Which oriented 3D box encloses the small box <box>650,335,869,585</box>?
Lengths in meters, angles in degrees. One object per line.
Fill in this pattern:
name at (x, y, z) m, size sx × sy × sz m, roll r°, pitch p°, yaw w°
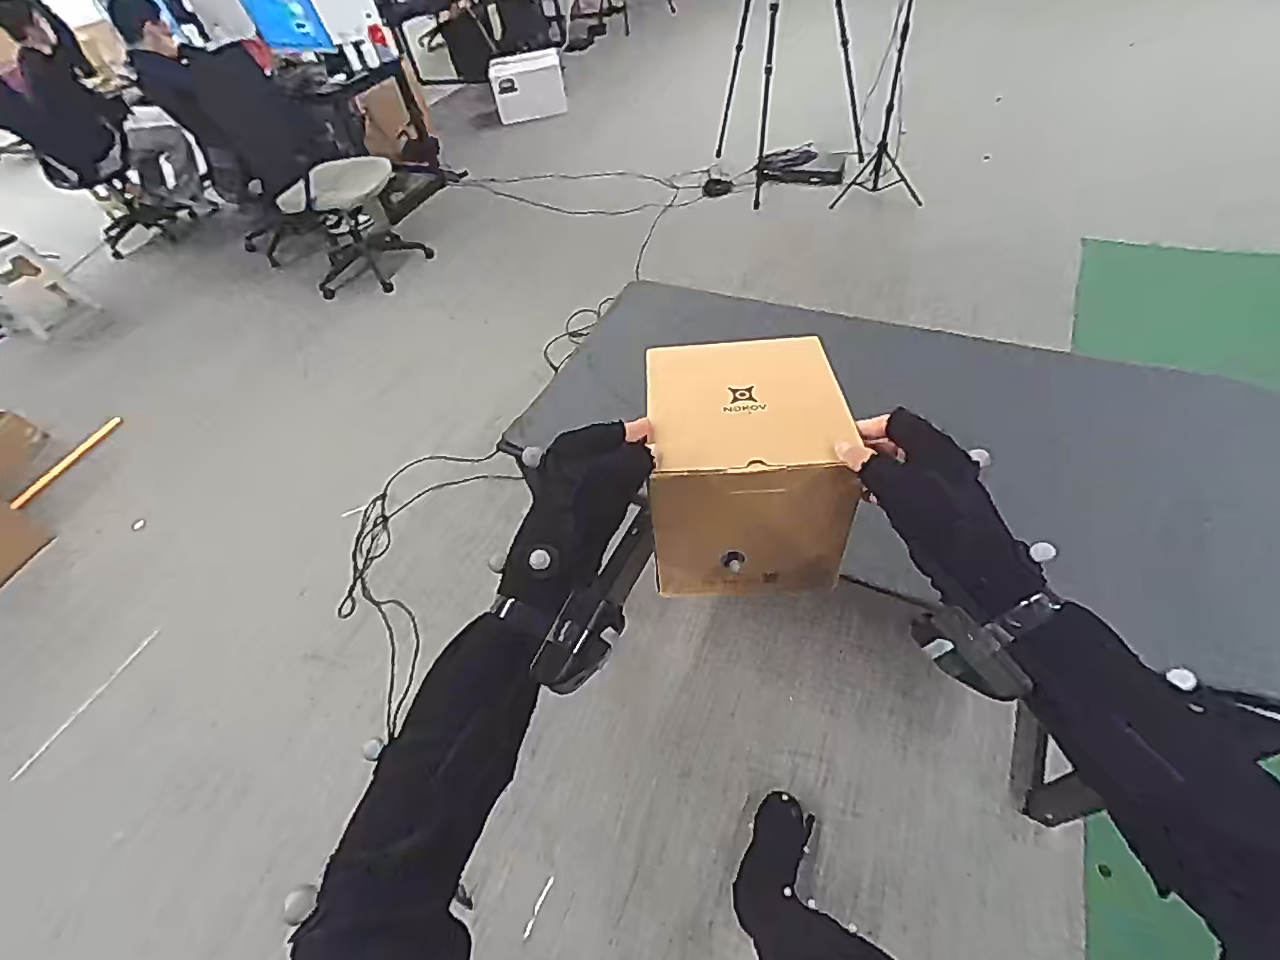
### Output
small box at (0.096, -0.018, 0.519) m, size 0.168 × 0.176 × 0.179 m, roll -2°, pitch 46°, yaw 4°
